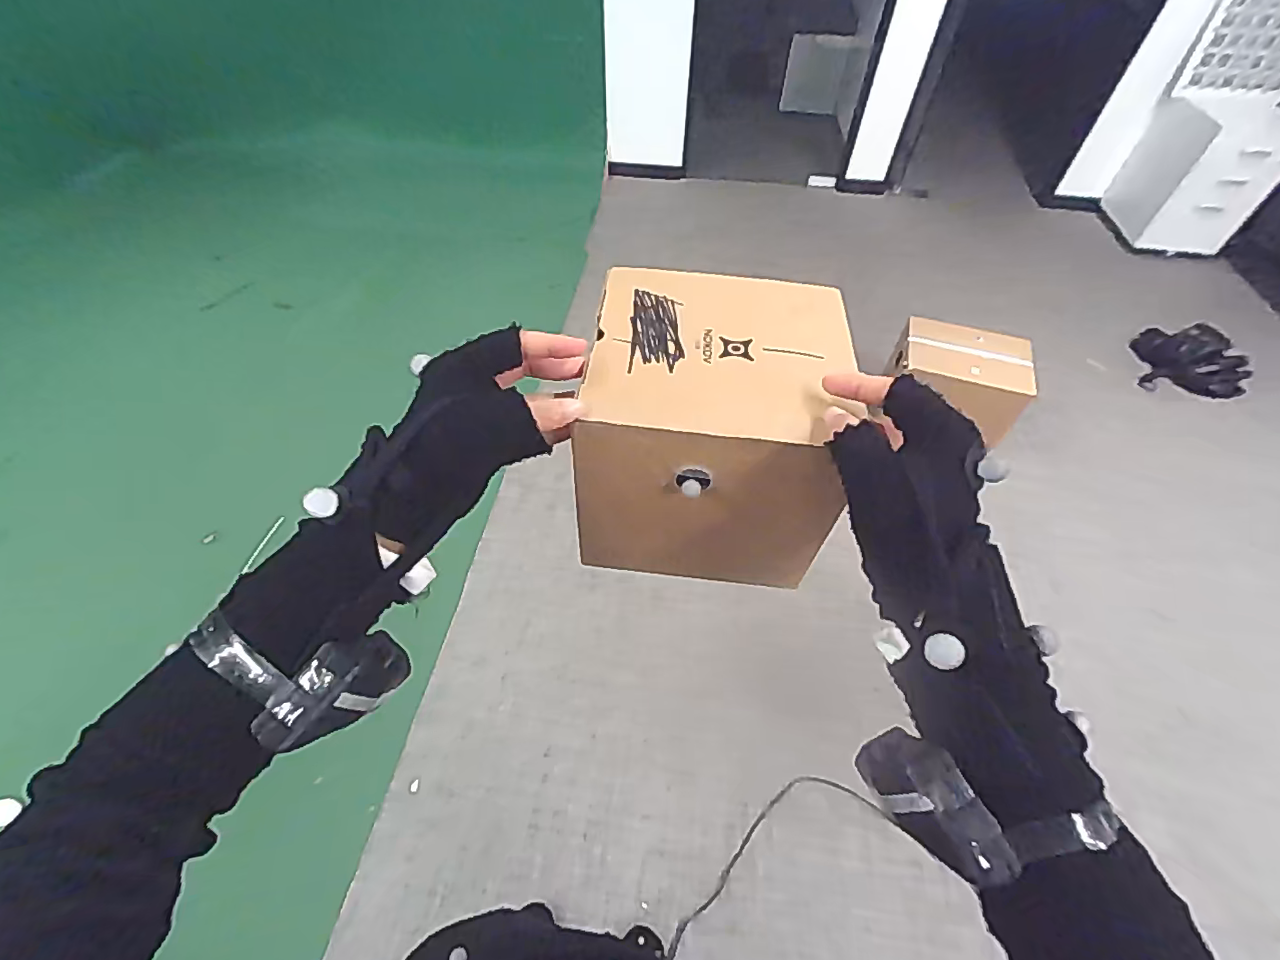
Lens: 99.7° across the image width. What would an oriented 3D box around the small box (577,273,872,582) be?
[{"bbox_3d":[0.053,-0.035,0.424,0.179,0.176,0.168,7,52,1],"label":"small box"}]
